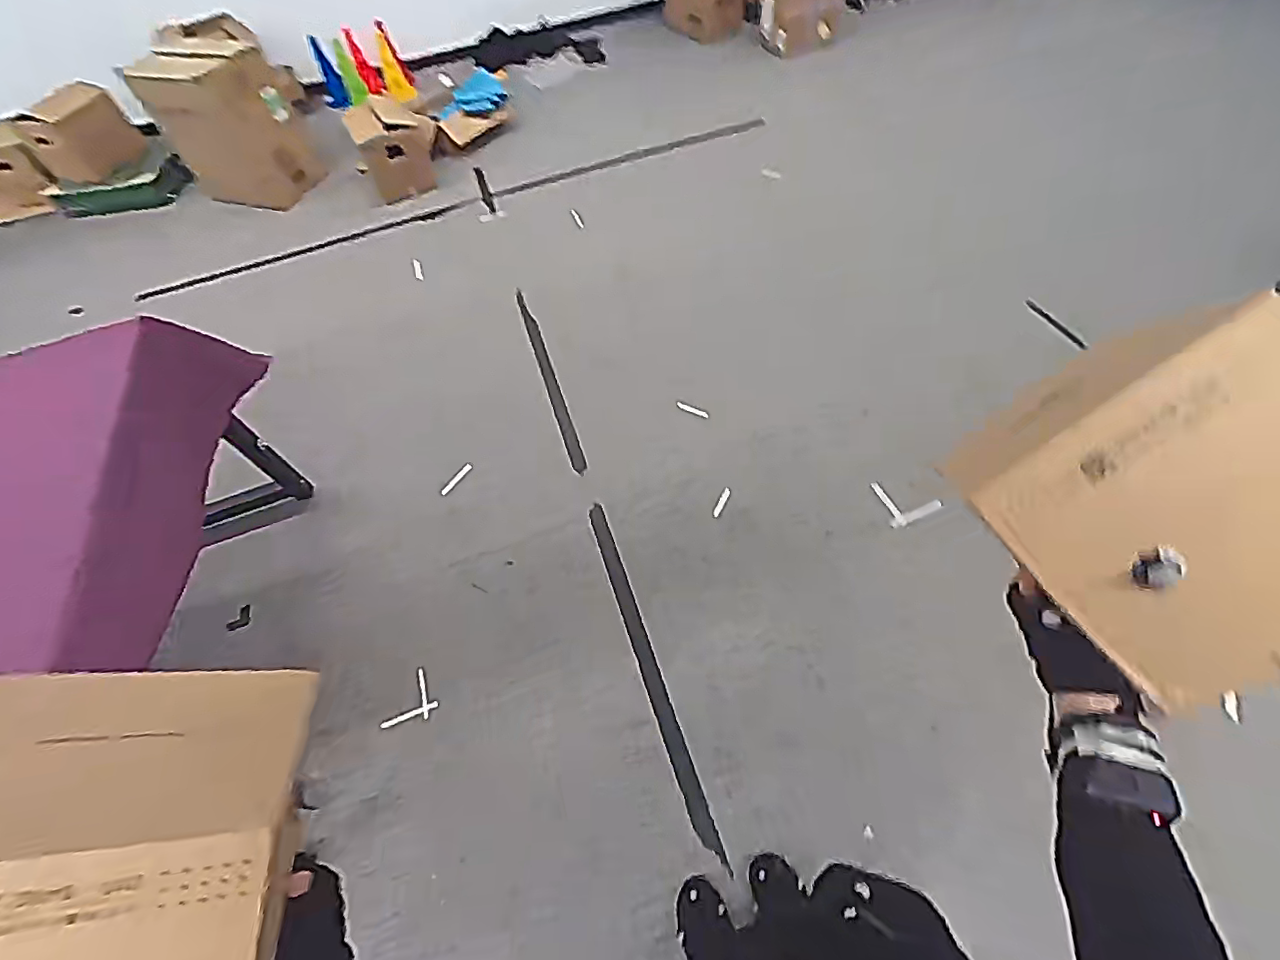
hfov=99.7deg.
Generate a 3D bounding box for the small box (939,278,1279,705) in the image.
[{"bbox_3d":[0.326,-0.002,0.349,0.168,0.179,0.176,-41,83,23],"label":"small box"}]

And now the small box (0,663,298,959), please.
[{"bbox_3d":[-0.271,0.198,0.250,0.168,0.179,0.176,8,88,-27],"label":"small box"}]
